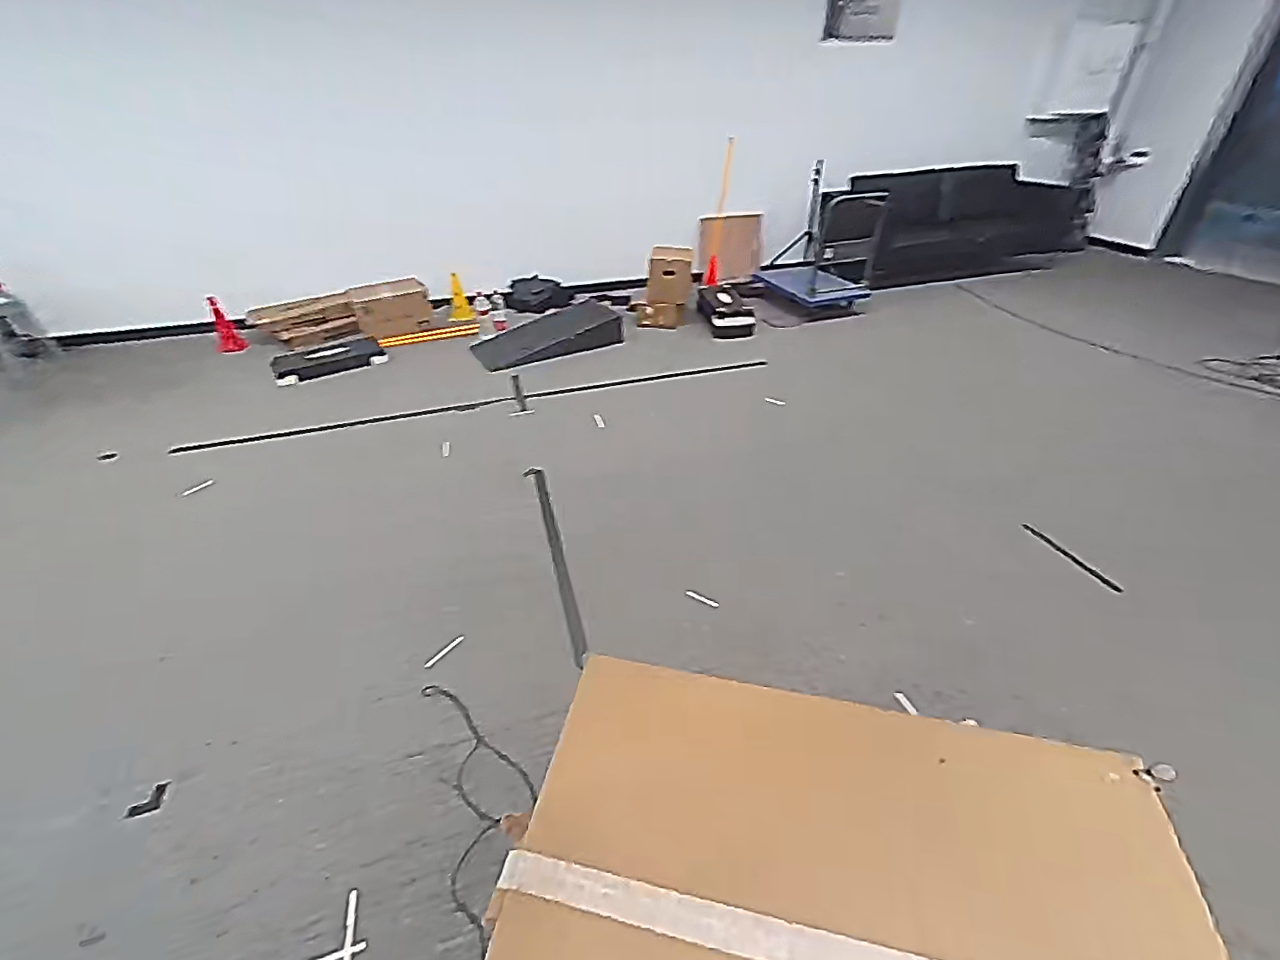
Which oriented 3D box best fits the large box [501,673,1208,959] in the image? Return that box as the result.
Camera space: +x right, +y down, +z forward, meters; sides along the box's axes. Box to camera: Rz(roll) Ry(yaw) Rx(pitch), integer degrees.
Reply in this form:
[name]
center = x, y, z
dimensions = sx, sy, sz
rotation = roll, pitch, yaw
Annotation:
[large box]
center = 0.122, 0.391, 0.409
dimensions = 0.408, 0.320, 0.320
rotation = 6, 42, 10
